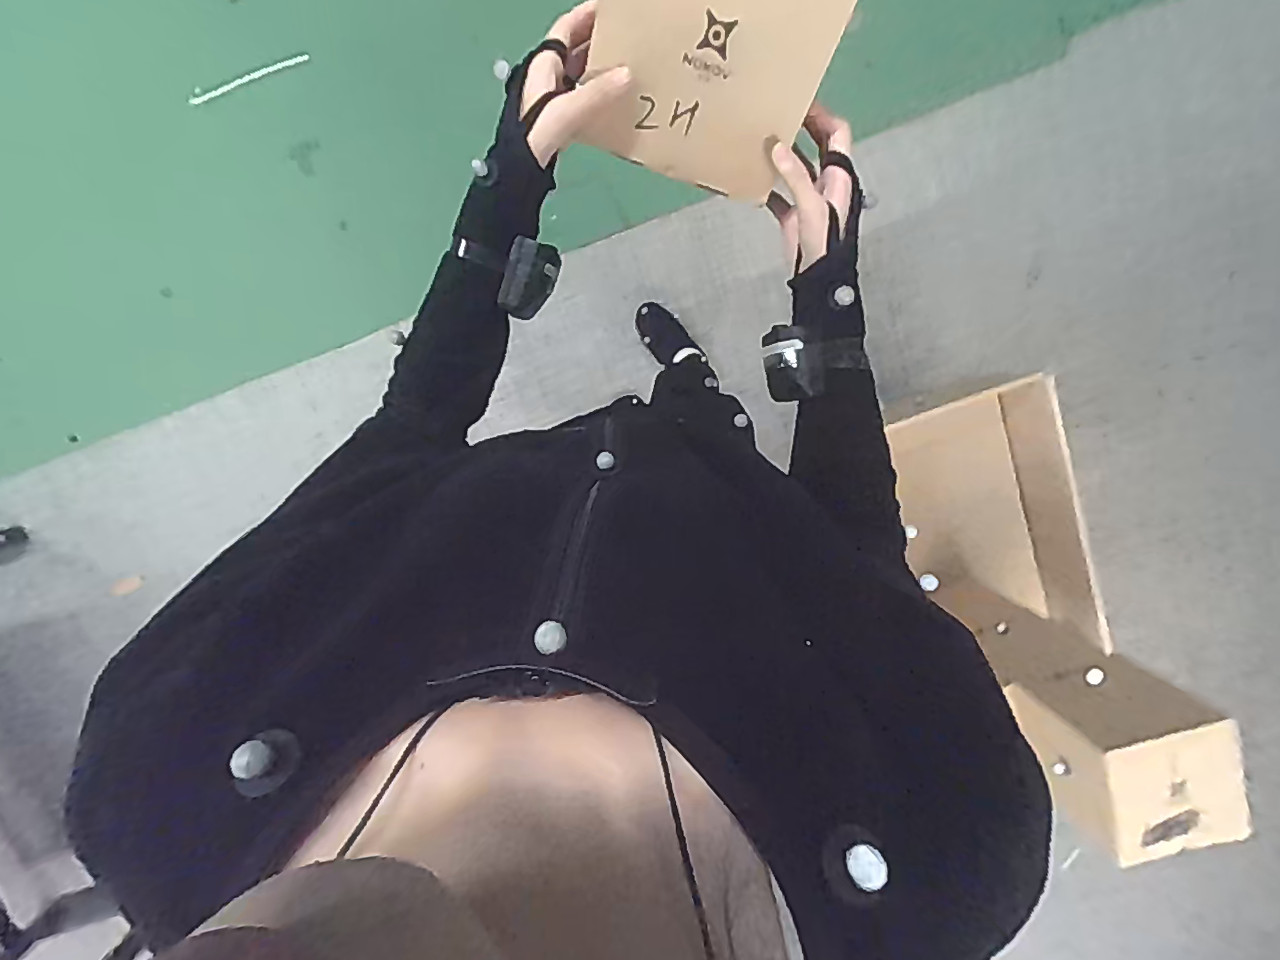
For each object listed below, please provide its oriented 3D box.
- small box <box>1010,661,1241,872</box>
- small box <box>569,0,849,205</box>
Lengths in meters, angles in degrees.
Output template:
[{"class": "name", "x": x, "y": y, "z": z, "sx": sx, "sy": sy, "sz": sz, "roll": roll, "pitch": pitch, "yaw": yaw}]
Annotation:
[{"class": "small box", "x": 0.657, "y": 0.384, "z": 0.750, "sx": 0.168, "sy": 0.176, "sz": 0.179, "roll": -16, "pitch": 99, "yaw": 2}, {"class": "small box", "x": 0.051, "y": -0.363, "z": 0.432, "sx": 0.168, "sy": 0.176, "sz": 0.179, "roll": 15, "pitch": 136, "yaw": -10}]
